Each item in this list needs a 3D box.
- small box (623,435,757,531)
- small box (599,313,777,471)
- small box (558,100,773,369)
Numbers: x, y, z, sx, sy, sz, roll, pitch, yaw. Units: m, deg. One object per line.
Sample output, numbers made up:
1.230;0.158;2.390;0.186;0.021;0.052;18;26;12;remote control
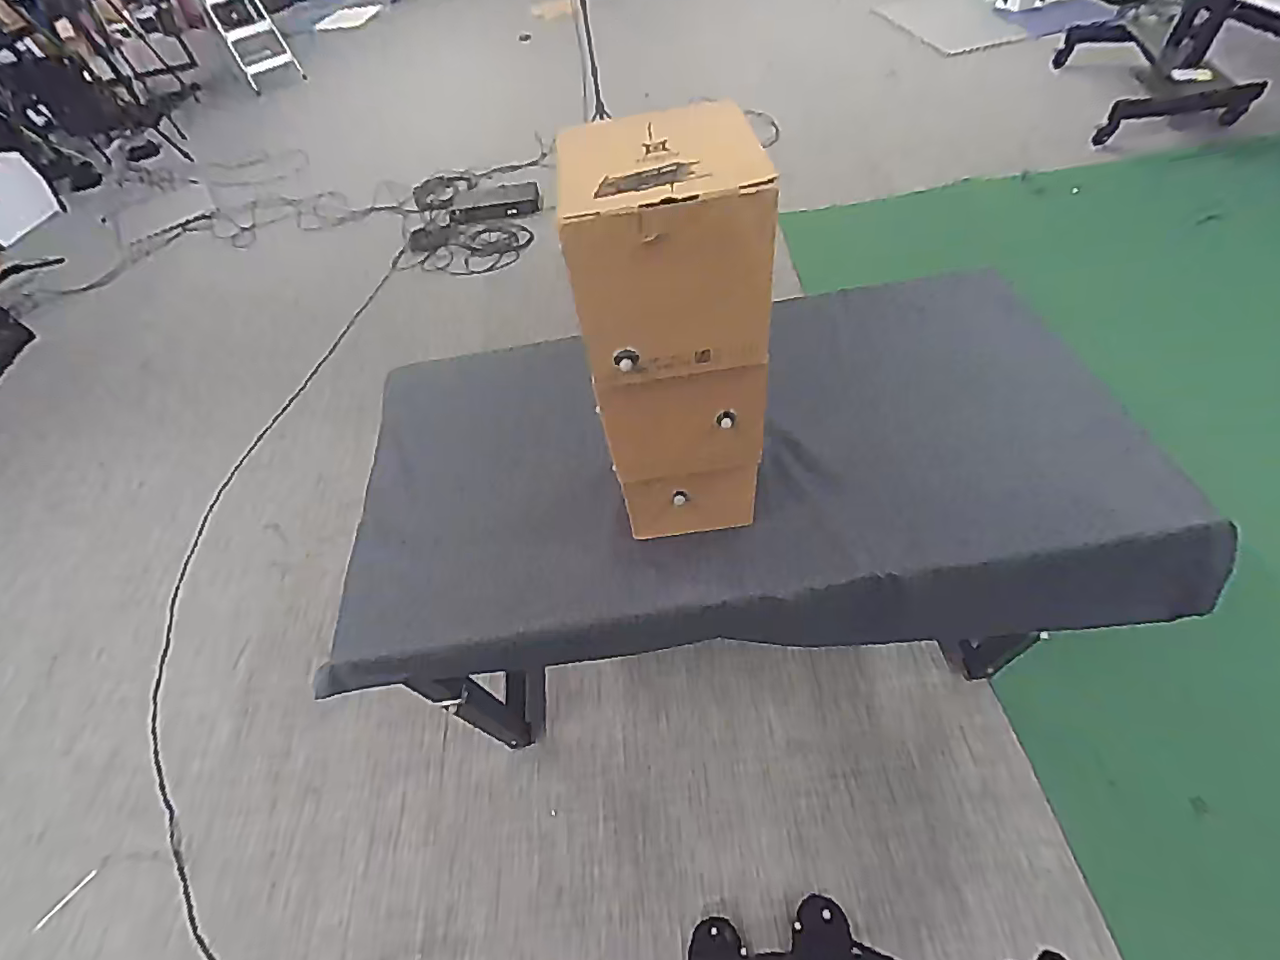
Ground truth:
0.063;-0.043;0.786;0.179;0.176;0.168;-10;52;0;small box
0.044;-0.132;0.629;0.179;0.176;0.168;-11;53;0;small box
0.023;-0.219;0.510;0.168;0.176;0.179;-8;52;2;small box
